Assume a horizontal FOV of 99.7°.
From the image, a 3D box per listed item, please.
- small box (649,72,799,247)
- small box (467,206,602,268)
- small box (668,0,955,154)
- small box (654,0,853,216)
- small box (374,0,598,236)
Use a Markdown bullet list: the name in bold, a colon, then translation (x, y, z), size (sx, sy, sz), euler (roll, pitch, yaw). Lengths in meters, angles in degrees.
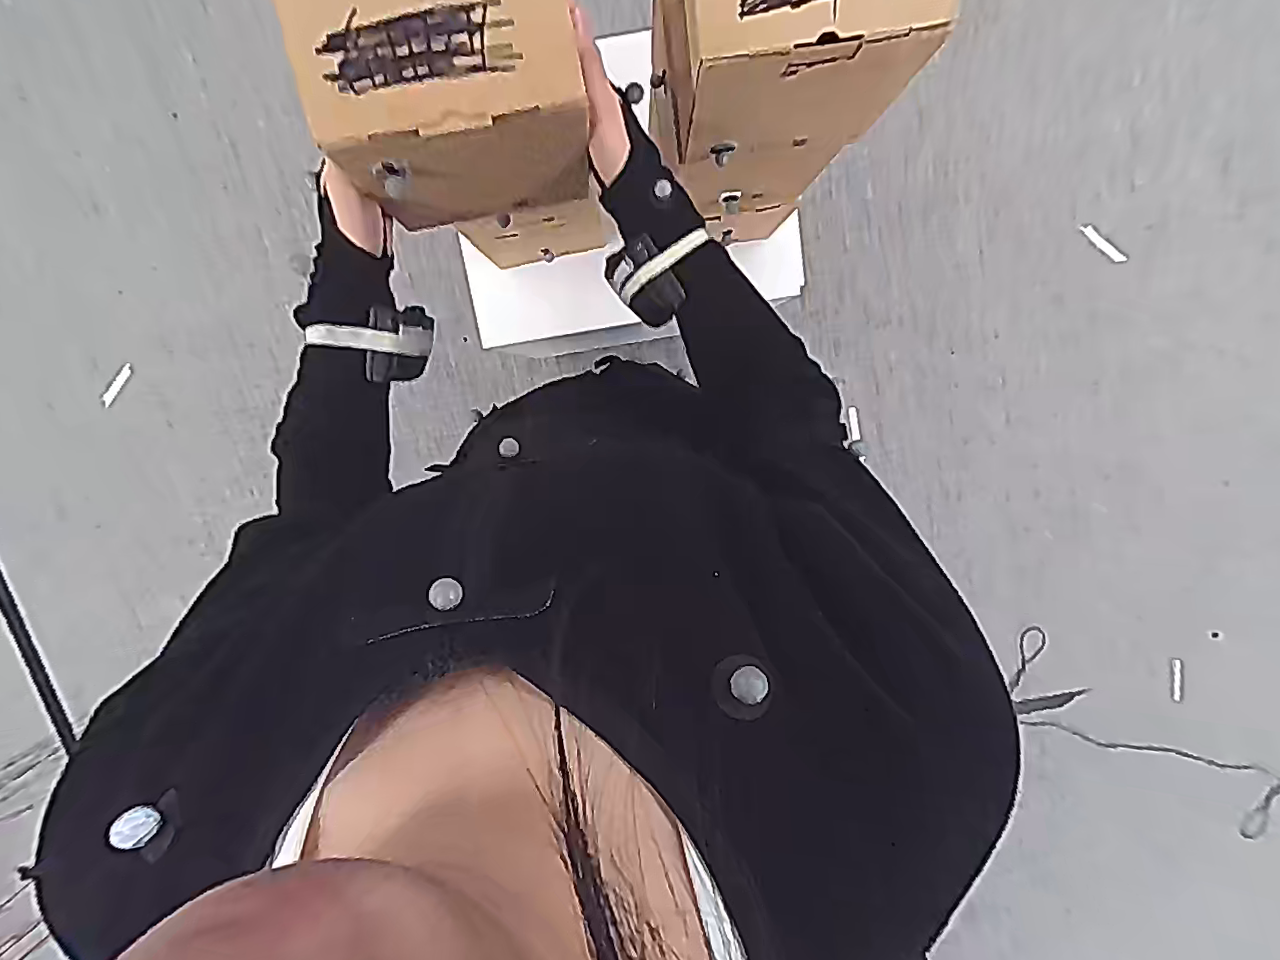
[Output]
- **small box**: translation (0.105, -0.426, 0.731), size (0.168, 0.176, 0.179), euler (-9, 102, 0)
- **small box**: translation (-0.149, -0.406, 0.729), size (0.168, 0.176, 0.179), euler (-12, 101, 1)
- **small box**: translation (0.110, -0.373, 0.409), size (0.168, 0.176, 0.179), euler (-7, 99, 2)
- **small box**: translation (0.107, -0.405, 0.570), size (0.168, 0.176, 0.179), euler (-8, 101, 2)
- **small box**: translation (-0.142, -0.373, 0.570), size (0.168, 0.176, 0.179), euler (-11, 100, 0)
